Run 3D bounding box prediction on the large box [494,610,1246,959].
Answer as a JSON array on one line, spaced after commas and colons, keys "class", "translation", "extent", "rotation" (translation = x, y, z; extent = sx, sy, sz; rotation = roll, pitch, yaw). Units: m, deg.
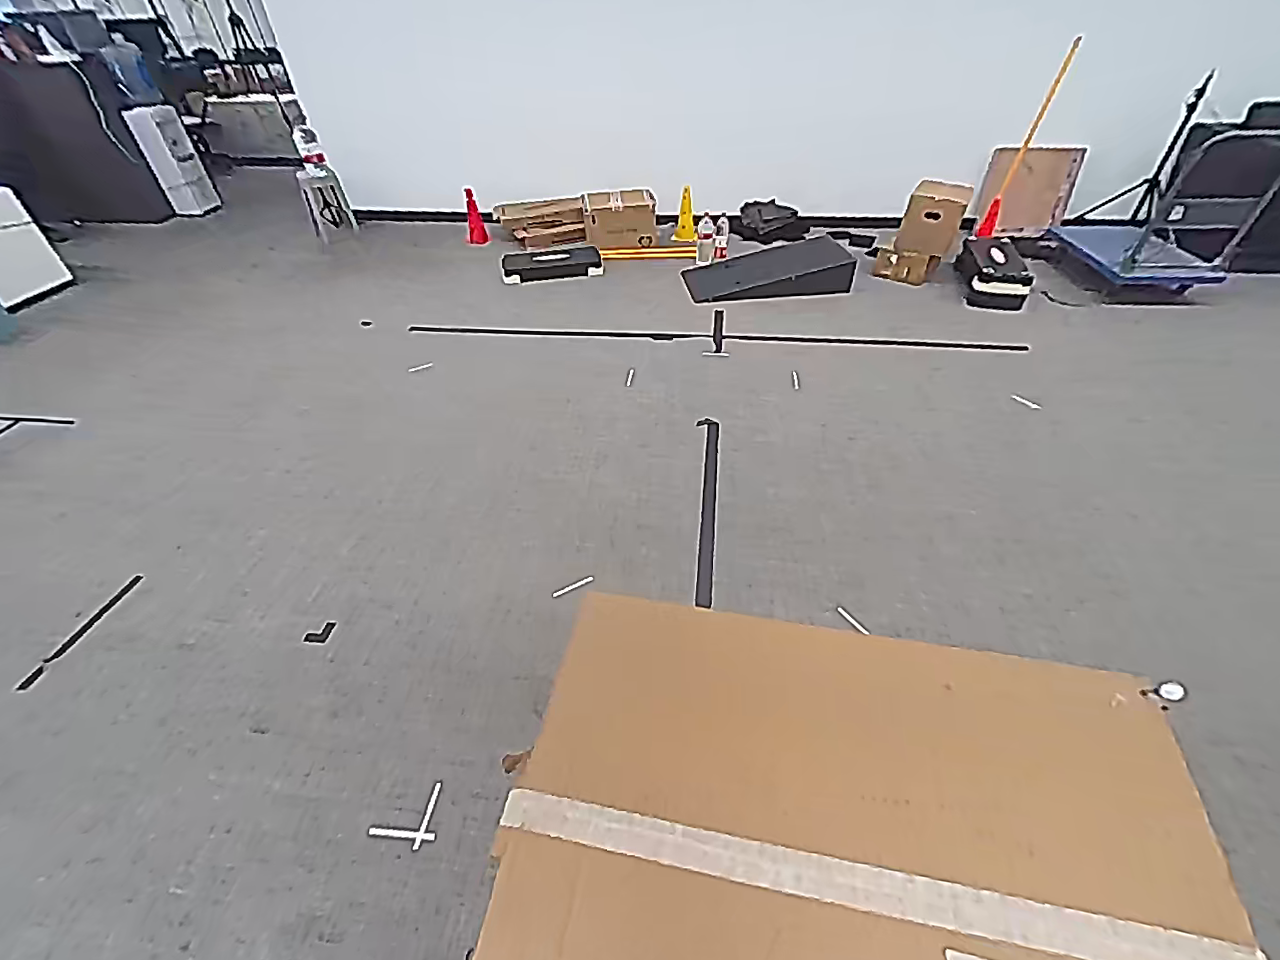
[{"class": "large box", "translation": [0.130, 0.335, 0.426], "extent": [0.408, 0.320, 0.320], "rotation": [6, 50, 9]}]
